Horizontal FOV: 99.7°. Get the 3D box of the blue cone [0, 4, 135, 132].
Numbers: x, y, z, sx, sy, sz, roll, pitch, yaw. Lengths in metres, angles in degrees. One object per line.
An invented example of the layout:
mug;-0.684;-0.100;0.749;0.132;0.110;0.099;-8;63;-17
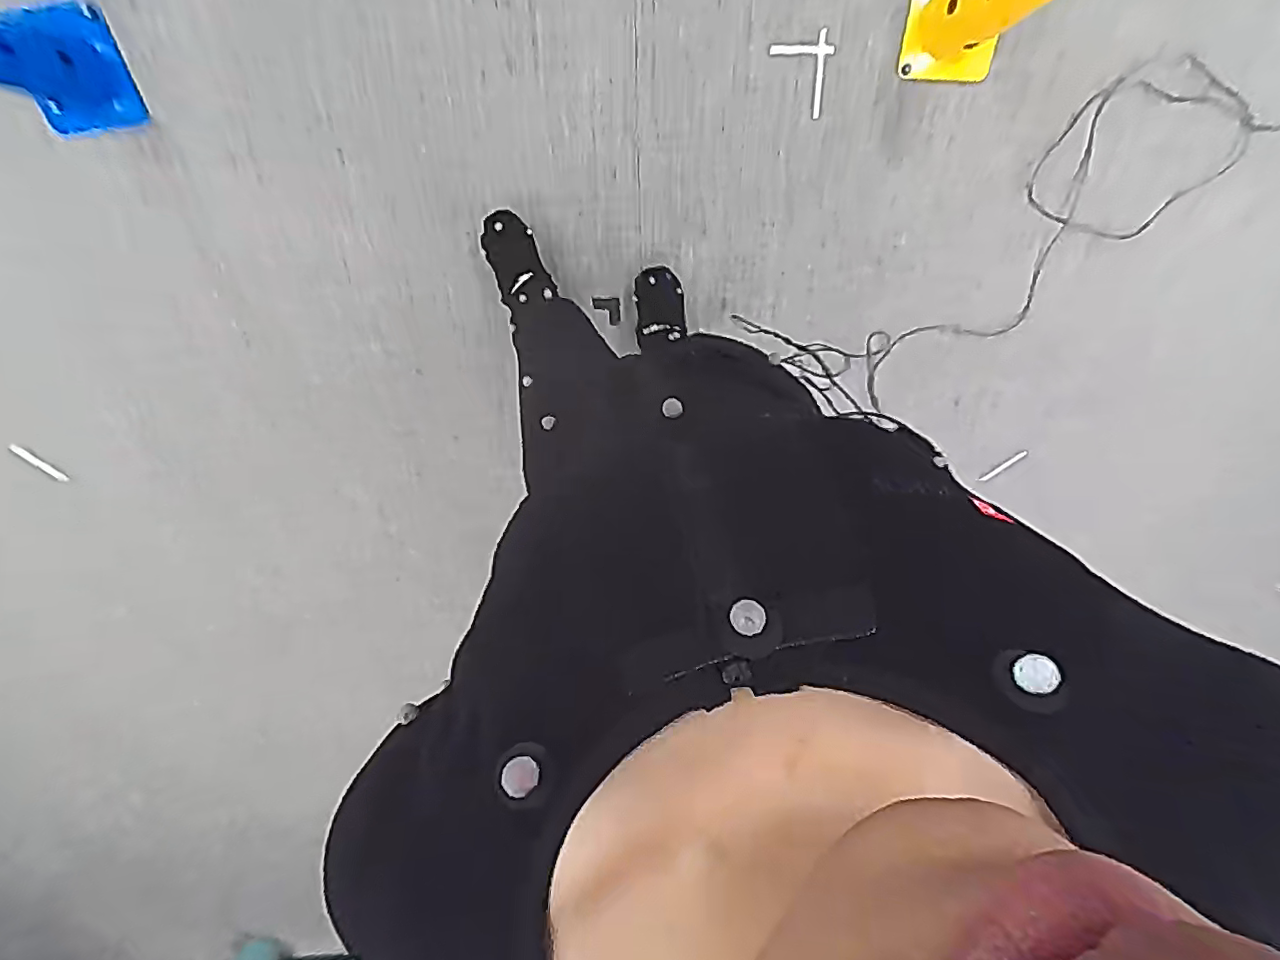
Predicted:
blue cone;-1.103;-0.721;0.910;0.193;0.380;0.192;-7;118;0
